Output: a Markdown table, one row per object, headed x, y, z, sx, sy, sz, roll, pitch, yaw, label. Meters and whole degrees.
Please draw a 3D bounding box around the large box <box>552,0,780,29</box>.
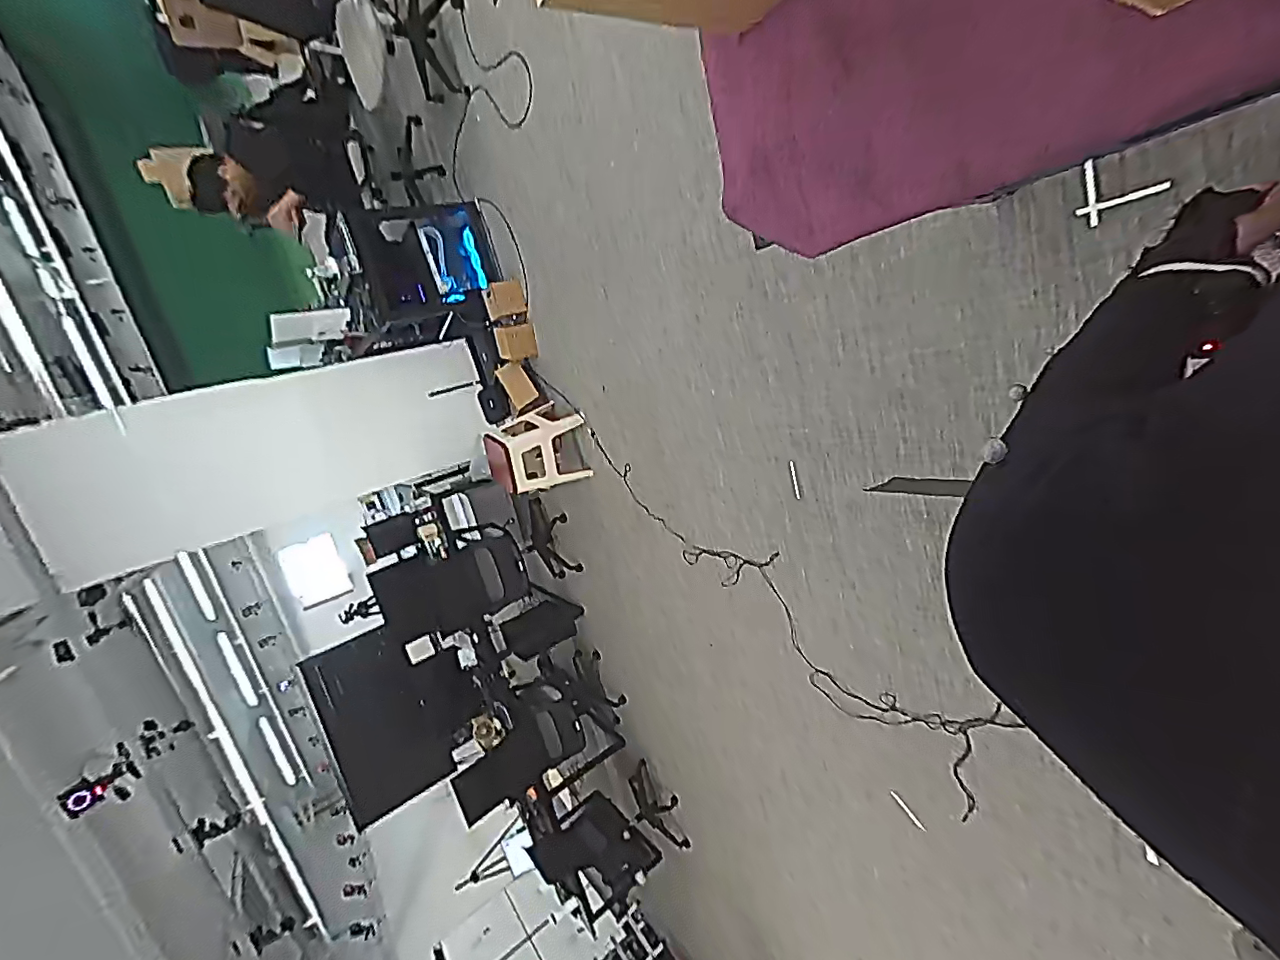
| x | y | z | sx | sy | sz | roll | pitch | yaw | label |
| --- | --- | --- | --- | --- | --- | --- | --- | --- | --- |
| 0.052 | -0.715 | 0.464 | 0.320 | 0.320 | 0.408 | 0 | 112 | 56 | large box |
